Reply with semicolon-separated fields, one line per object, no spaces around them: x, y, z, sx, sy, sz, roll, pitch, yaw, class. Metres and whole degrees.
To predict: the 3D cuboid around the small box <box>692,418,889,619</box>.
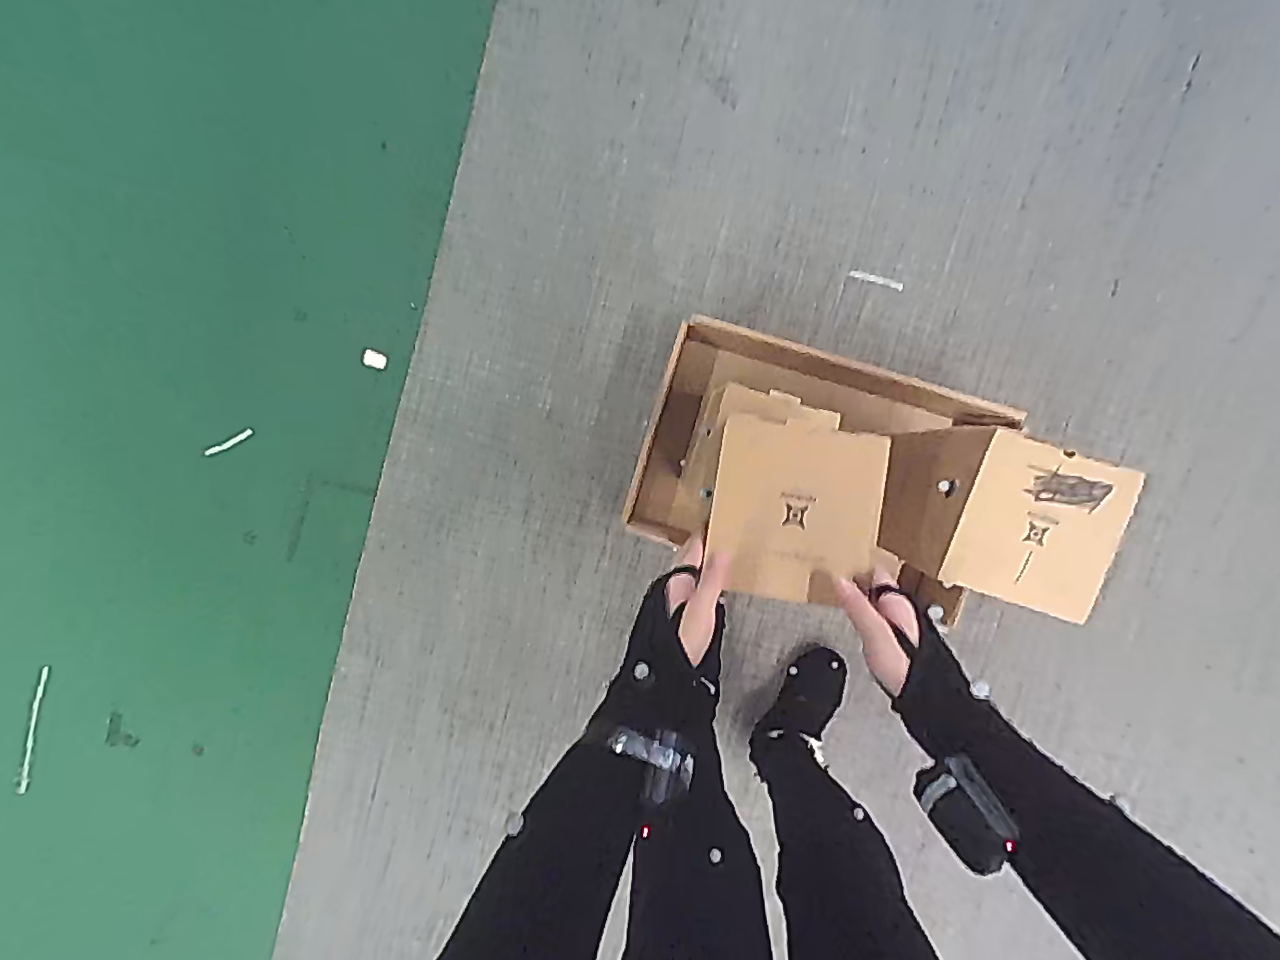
0.154;0.040;0.610;0.168;0.176;0.179;10;88;2;small box

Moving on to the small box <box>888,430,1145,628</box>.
0.432;0.046;0.656;0.168;0.176;0.179;19;96;2;small box

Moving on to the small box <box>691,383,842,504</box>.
0.179;-0.034;0.825;0.168;0.176;0.179;17;95;2;small box

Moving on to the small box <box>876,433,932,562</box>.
0.440;0.036;0.820;0.168;0.176;0.179;19;95;2;small box
